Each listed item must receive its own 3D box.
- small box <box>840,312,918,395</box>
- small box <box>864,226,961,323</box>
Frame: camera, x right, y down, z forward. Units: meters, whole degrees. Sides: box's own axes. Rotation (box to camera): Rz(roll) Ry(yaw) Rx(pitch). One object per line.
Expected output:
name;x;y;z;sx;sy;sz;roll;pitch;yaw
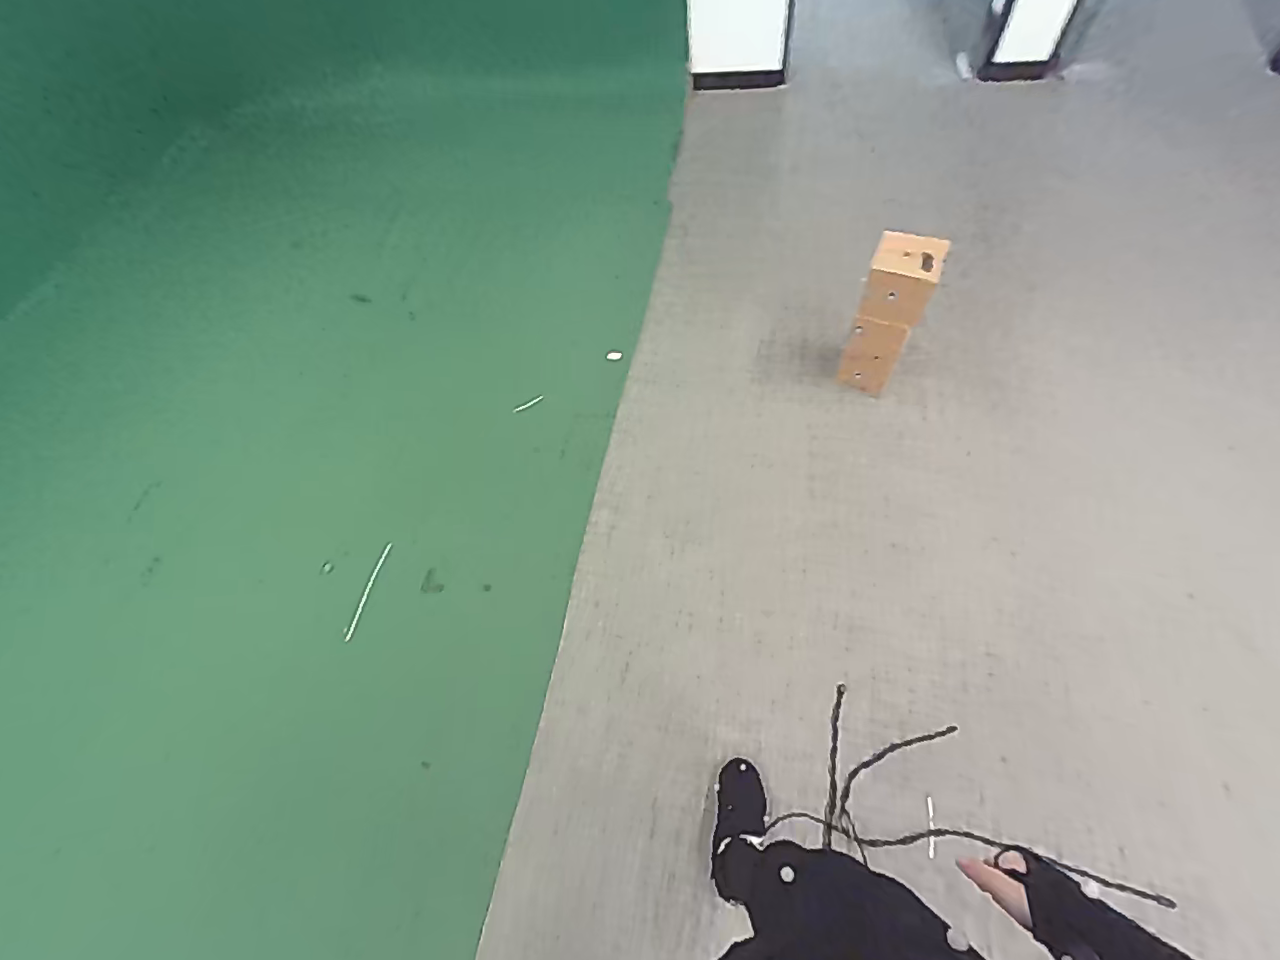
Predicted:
small box;0.784;-0.415;1.792;0.168;0.176;0.179;29;69;19
small box;0.749;-0.565;1.502;0.179;0.176;0.168;22;67;18
